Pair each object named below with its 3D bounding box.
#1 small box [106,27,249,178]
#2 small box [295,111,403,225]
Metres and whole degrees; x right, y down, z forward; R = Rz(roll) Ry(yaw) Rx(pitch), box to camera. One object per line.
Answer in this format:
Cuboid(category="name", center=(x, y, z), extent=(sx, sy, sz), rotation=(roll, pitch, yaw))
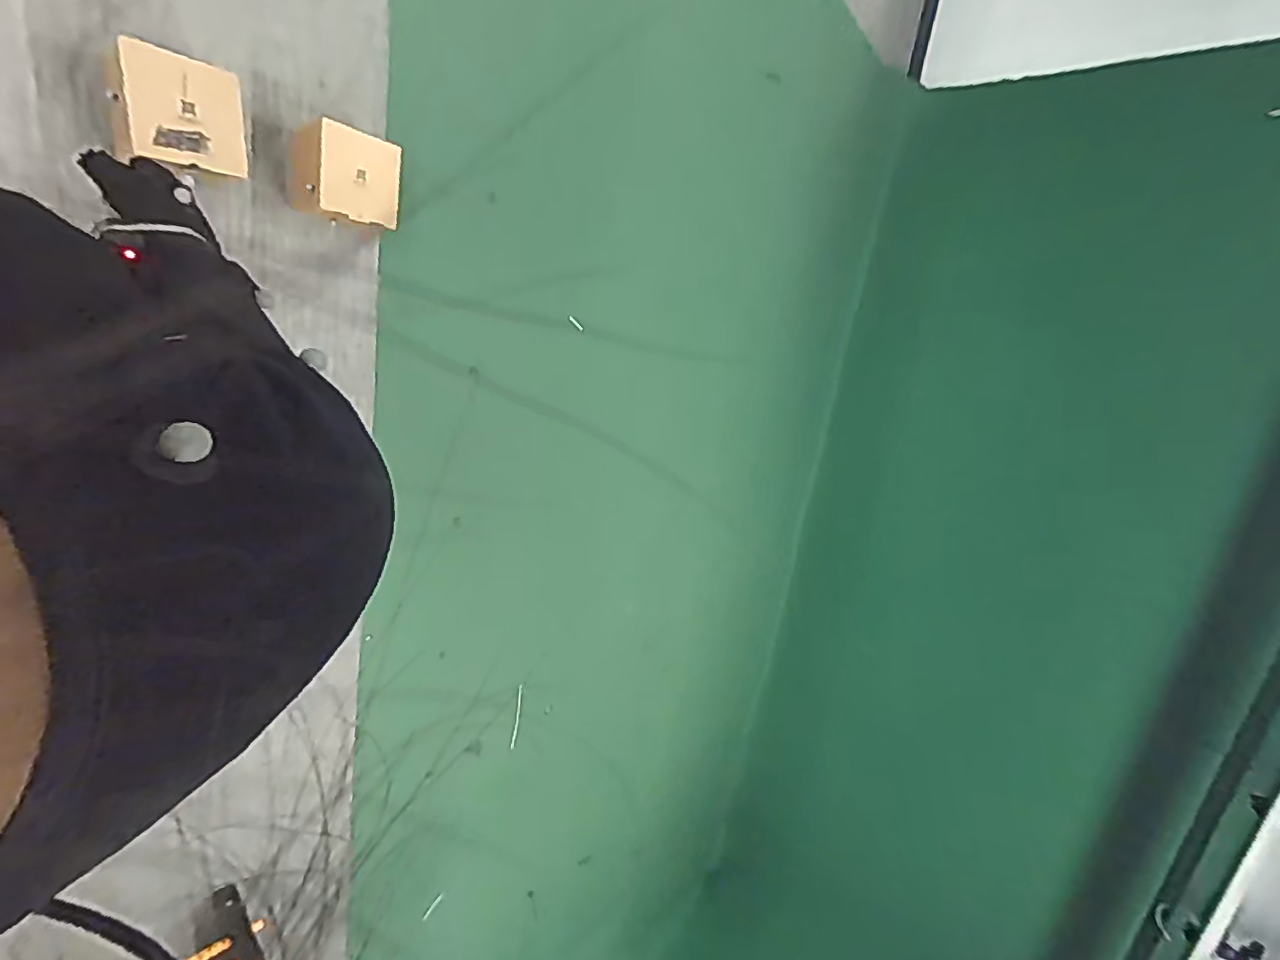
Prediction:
Cuboid(category="small box", center=(-0.843, -0.671, 0.989), extent=(0.168, 0.176, 0.179), rotation=(-13, 115, -48))
Cuboid(category="small box", center=(-0.656, -0.687, 1.214), extent=(0.168, 0.176, 0.179), rotation=(-7, 111, -49))
